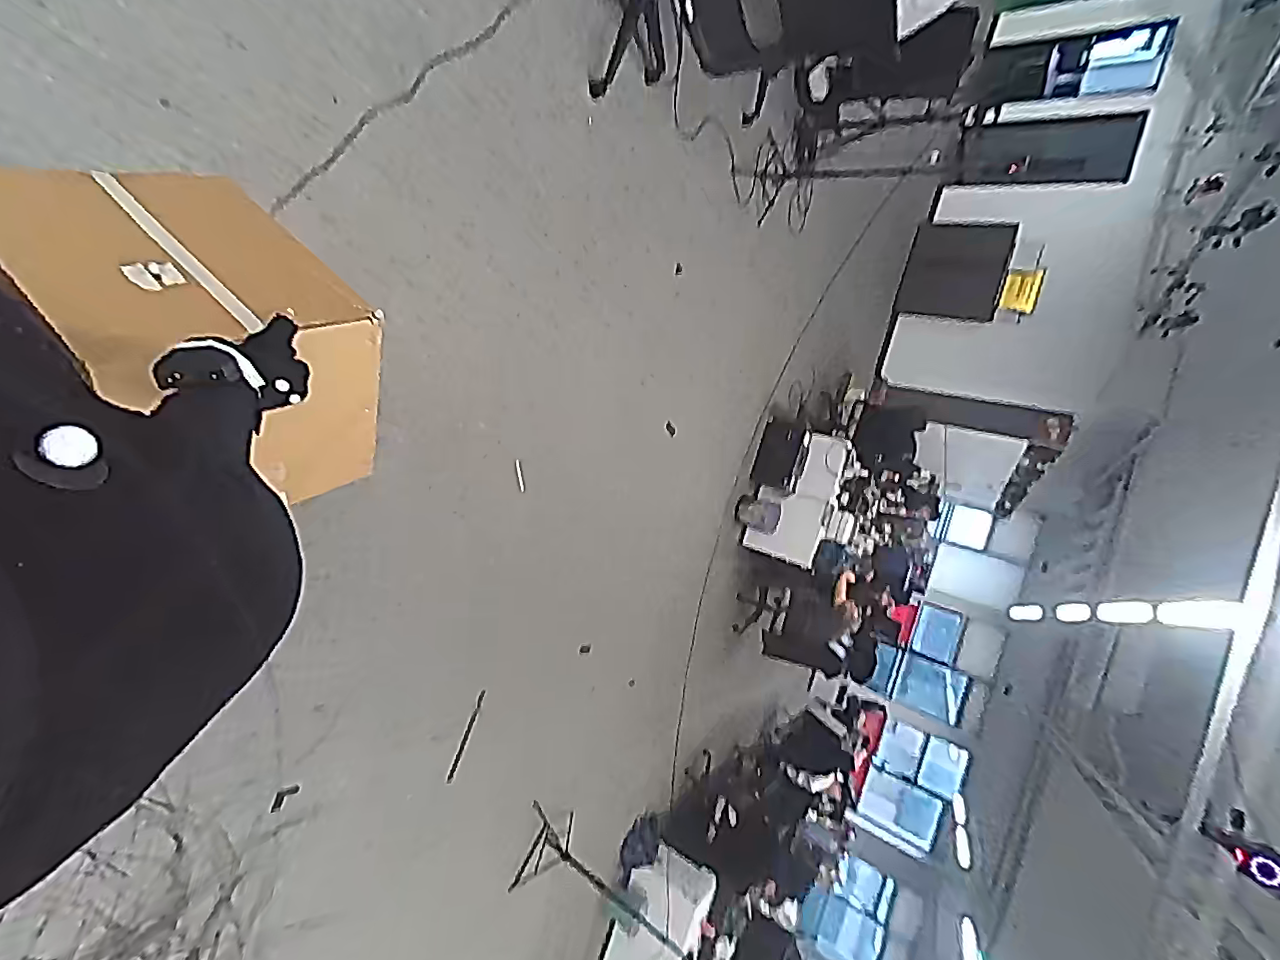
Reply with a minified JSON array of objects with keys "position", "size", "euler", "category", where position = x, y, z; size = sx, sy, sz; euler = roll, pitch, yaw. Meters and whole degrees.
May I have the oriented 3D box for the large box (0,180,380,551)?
[{"position":[-0.647,-0.180,0.788],"size":[0.320,0.408,0.320],"euler":[-34,158,-45],"category":"large box"}]
